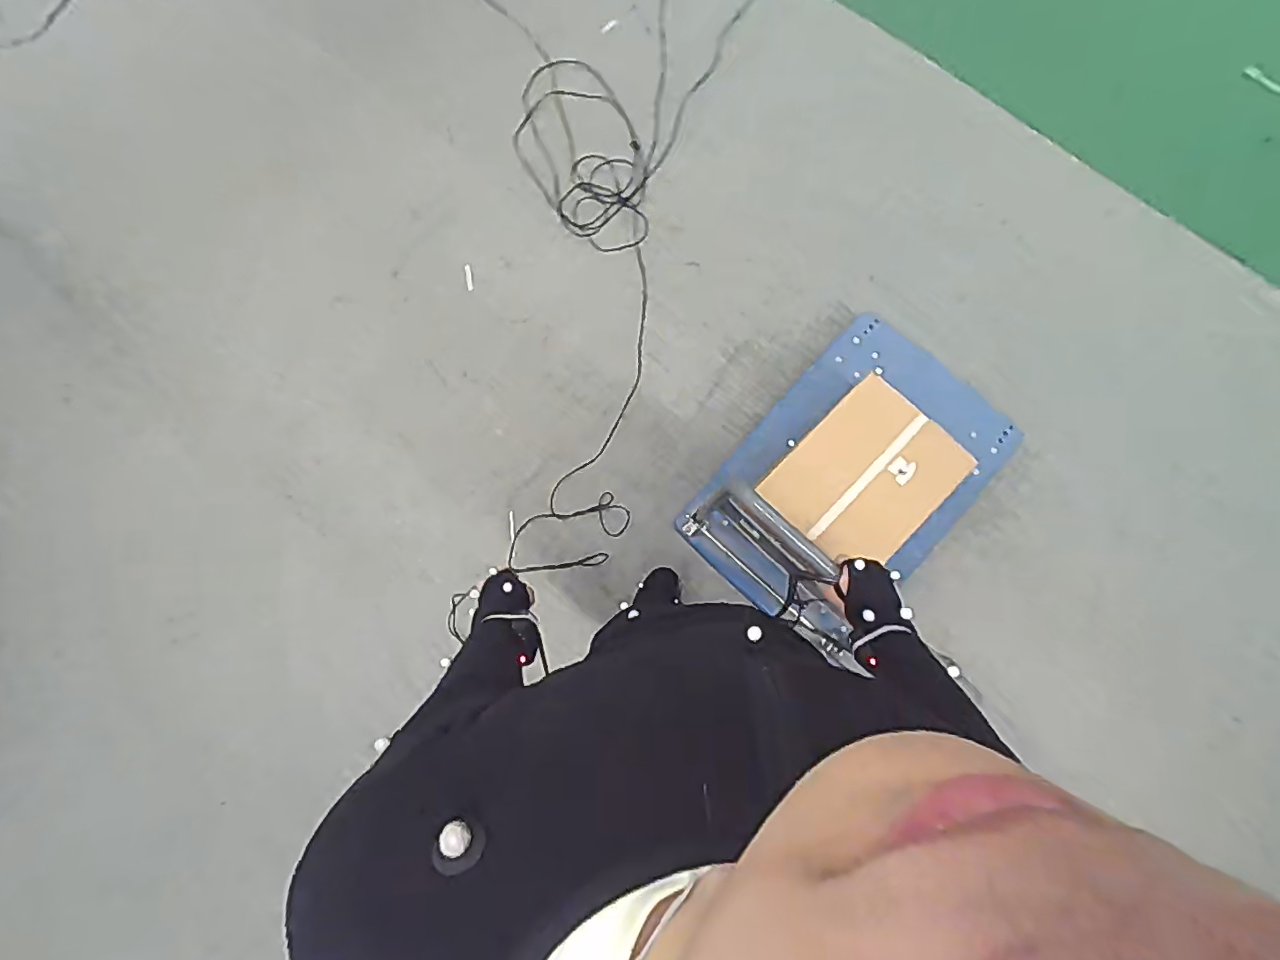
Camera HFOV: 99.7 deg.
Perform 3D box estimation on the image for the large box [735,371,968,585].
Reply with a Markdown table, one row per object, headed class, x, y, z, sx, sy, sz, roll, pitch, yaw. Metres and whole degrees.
| class | x | y | z | sx | sy | sz | roll | pitch | yaw |
| --- | --- | --- | --- | --- | --- | --- | --- | --- | --- |
| large box | 0.498 | 0.016 | 1.358 | 0.320 | 0.320 | 0.408 | 44 | 83 | 8 |
